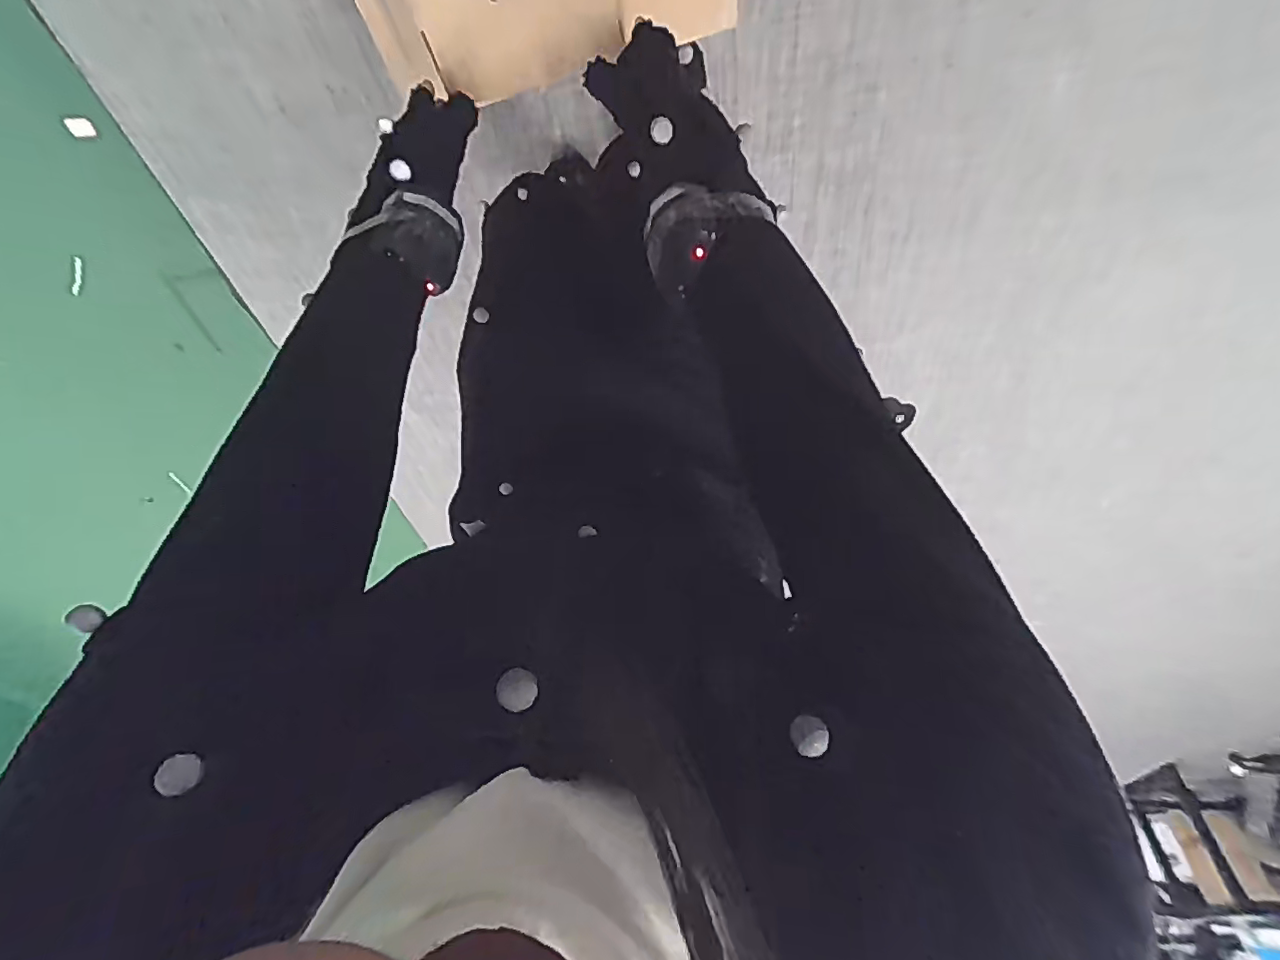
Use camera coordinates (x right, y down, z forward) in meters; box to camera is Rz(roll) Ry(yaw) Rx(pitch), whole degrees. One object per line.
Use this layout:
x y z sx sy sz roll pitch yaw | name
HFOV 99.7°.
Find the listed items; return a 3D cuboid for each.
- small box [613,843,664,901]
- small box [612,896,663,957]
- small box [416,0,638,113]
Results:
-0.002 1.529 2.109 0.179 0.176 0.168 -4 138 7 | small box
-0.005 1.651 2.001 0.168 0.176 0.179 -4 138 8 | small box
-0.105 -0.480 0.507 0.179 0.176 0.168 -7 139 11 | small box
